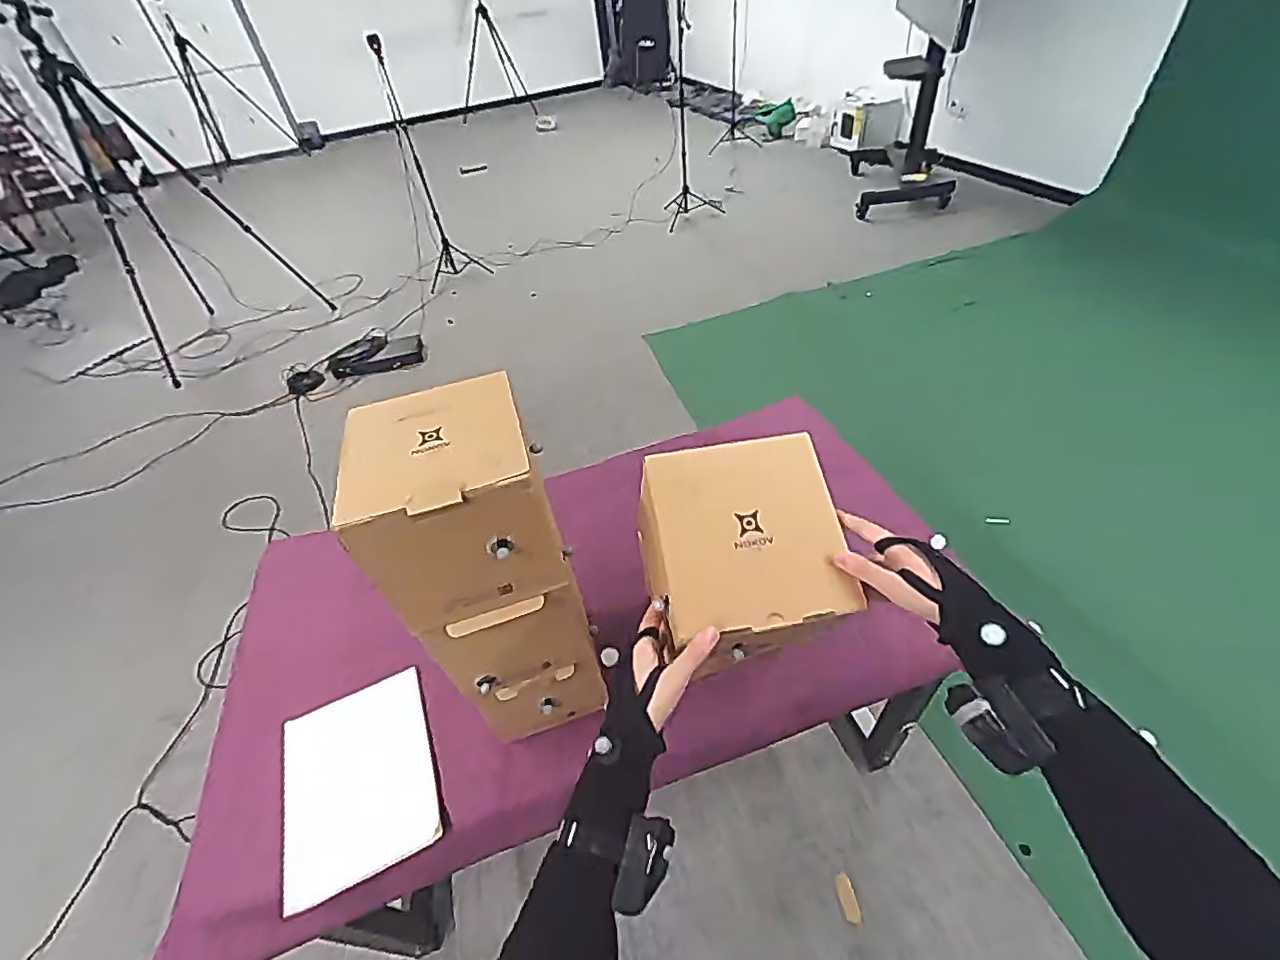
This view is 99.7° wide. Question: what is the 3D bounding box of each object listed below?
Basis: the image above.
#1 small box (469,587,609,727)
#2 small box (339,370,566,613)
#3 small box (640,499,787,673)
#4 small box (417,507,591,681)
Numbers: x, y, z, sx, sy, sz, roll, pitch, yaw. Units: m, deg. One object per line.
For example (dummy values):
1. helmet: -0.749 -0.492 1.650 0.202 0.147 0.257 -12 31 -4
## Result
1. small box: -0.153 0.241 0.802 0.168 0.176 0.179 -17 46 -8
2. small box: -0.184 0.017 0.565 0.168 0.176 0.179 -16 45 -8
3. small box: 0.109 0.163 0.838 0.168 0.176 0.179 -18 45 -8
4. small box: -0.168 0.129 0.682 0.168 0.176 0.179 -17 44 -8
